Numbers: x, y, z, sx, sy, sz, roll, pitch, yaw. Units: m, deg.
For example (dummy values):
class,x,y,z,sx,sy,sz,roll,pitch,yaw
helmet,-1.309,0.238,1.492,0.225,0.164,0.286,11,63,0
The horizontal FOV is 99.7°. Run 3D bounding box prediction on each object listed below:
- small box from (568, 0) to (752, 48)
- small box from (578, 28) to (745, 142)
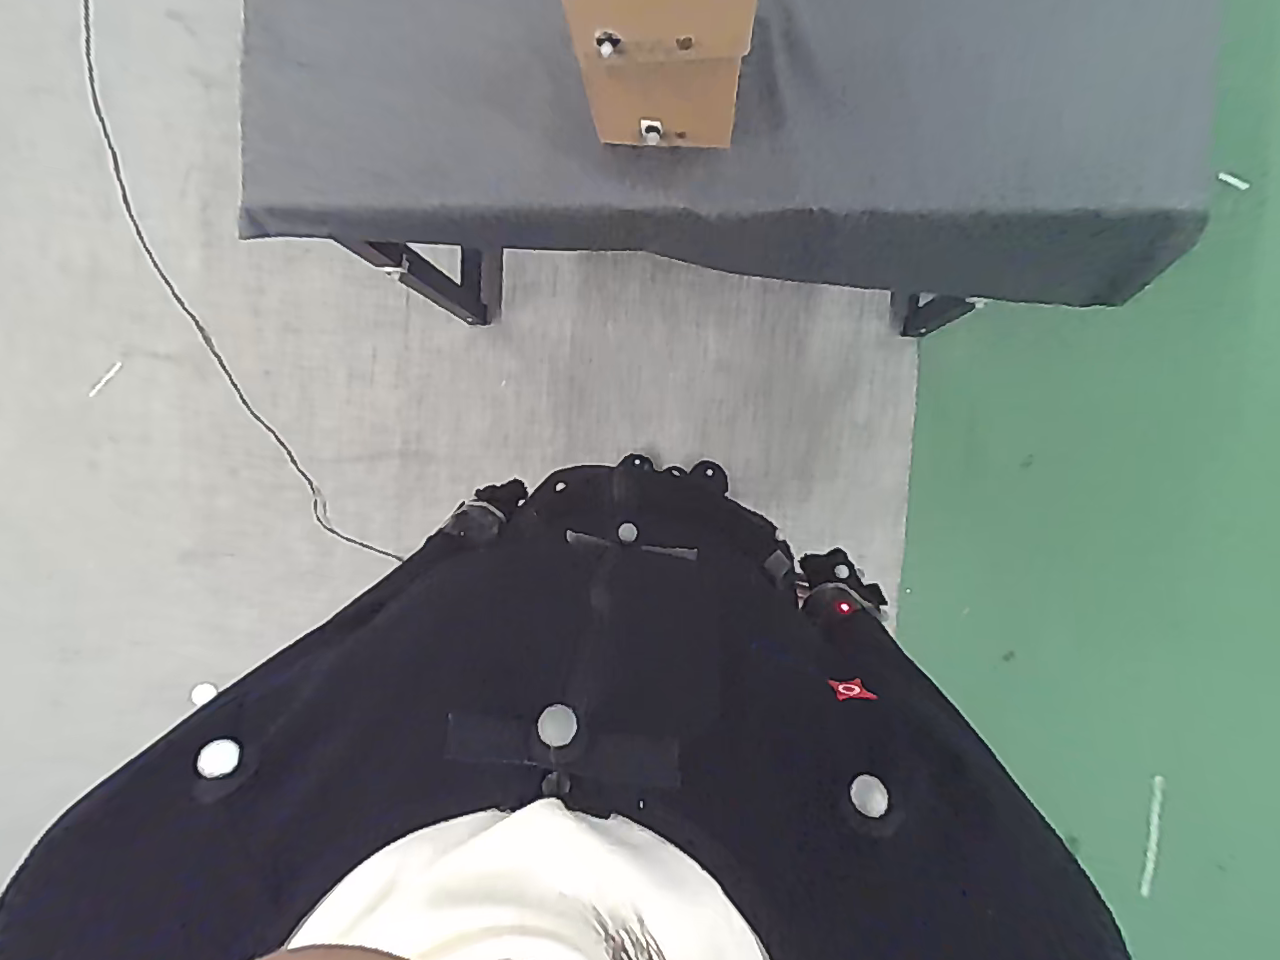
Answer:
class,x,y,z,sx,sy,sz,roll,pitch,yaw
small box,0.011,-0.497,0.441,0.168,0.176,0.179,-3,92,6
small box,0.032,-0.515,0.603,0.168,0.176,0.179,4,94,6
